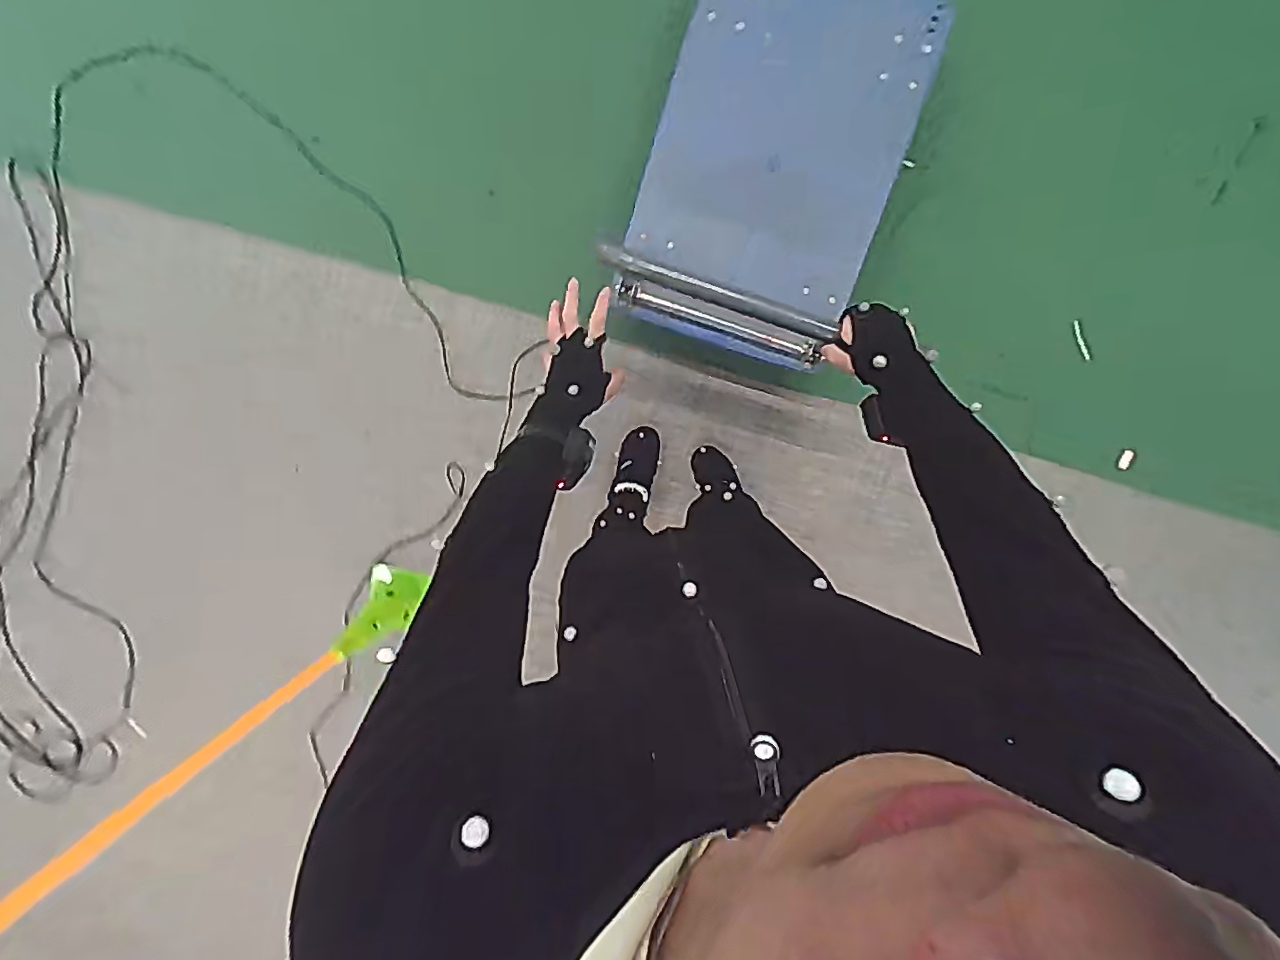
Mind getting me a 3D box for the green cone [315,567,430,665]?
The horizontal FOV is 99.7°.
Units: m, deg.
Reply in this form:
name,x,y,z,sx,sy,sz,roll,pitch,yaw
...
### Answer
name,x,y,z,sx,sy,sz,roll,pitch,yaw
green cone,-0.768,0.407,1.508,0.202,0.368,0.200,13,100,1
